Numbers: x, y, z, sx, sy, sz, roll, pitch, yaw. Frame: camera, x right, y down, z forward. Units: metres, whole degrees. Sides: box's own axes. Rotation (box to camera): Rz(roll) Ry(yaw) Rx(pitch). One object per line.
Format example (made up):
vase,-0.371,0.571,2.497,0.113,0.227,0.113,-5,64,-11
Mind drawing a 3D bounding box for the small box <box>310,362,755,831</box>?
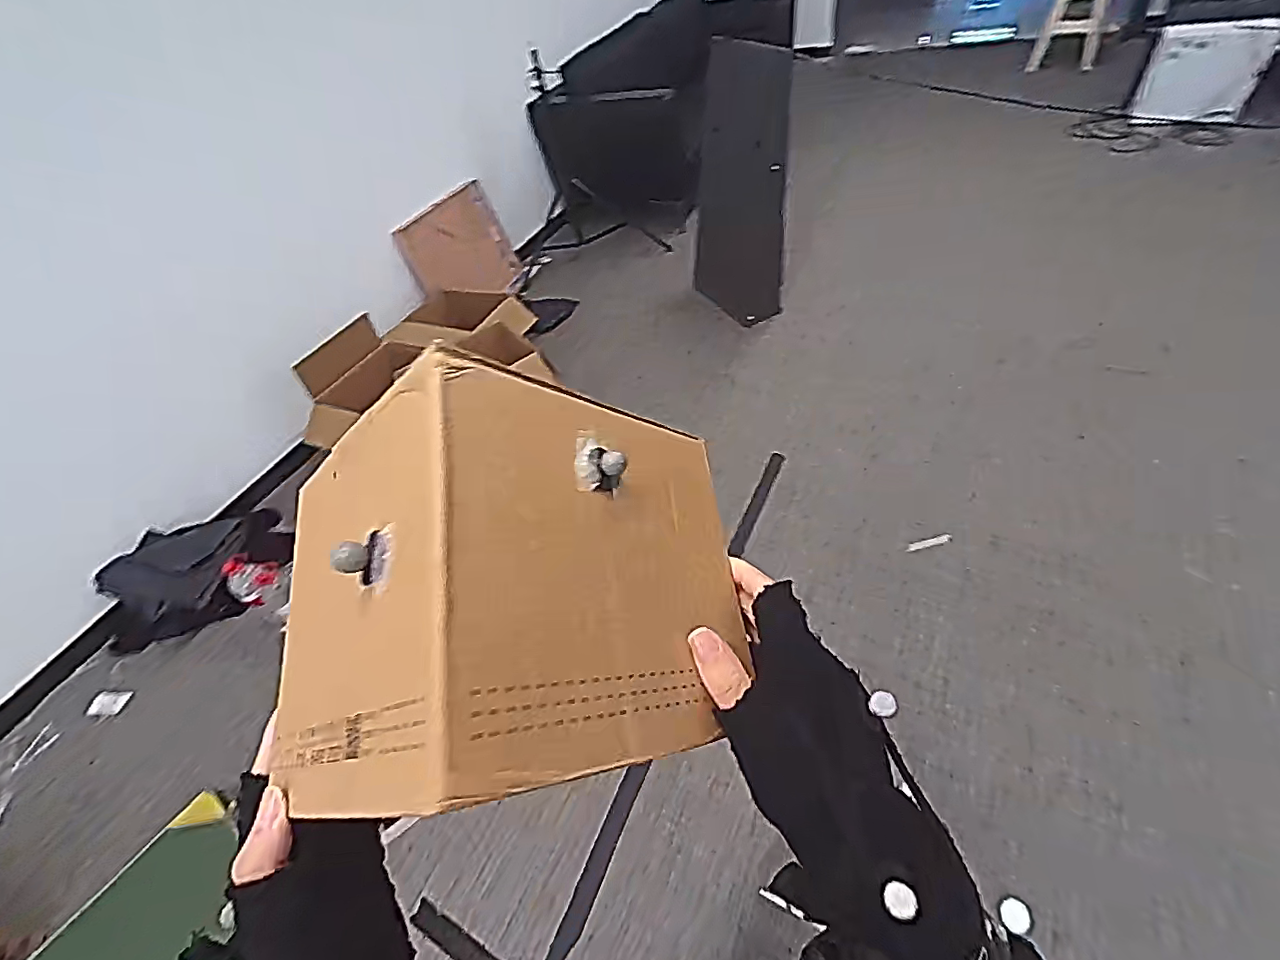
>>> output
small box,-0.060,0.071,0.290,0.168,0.179,0.176,-28,60,41
